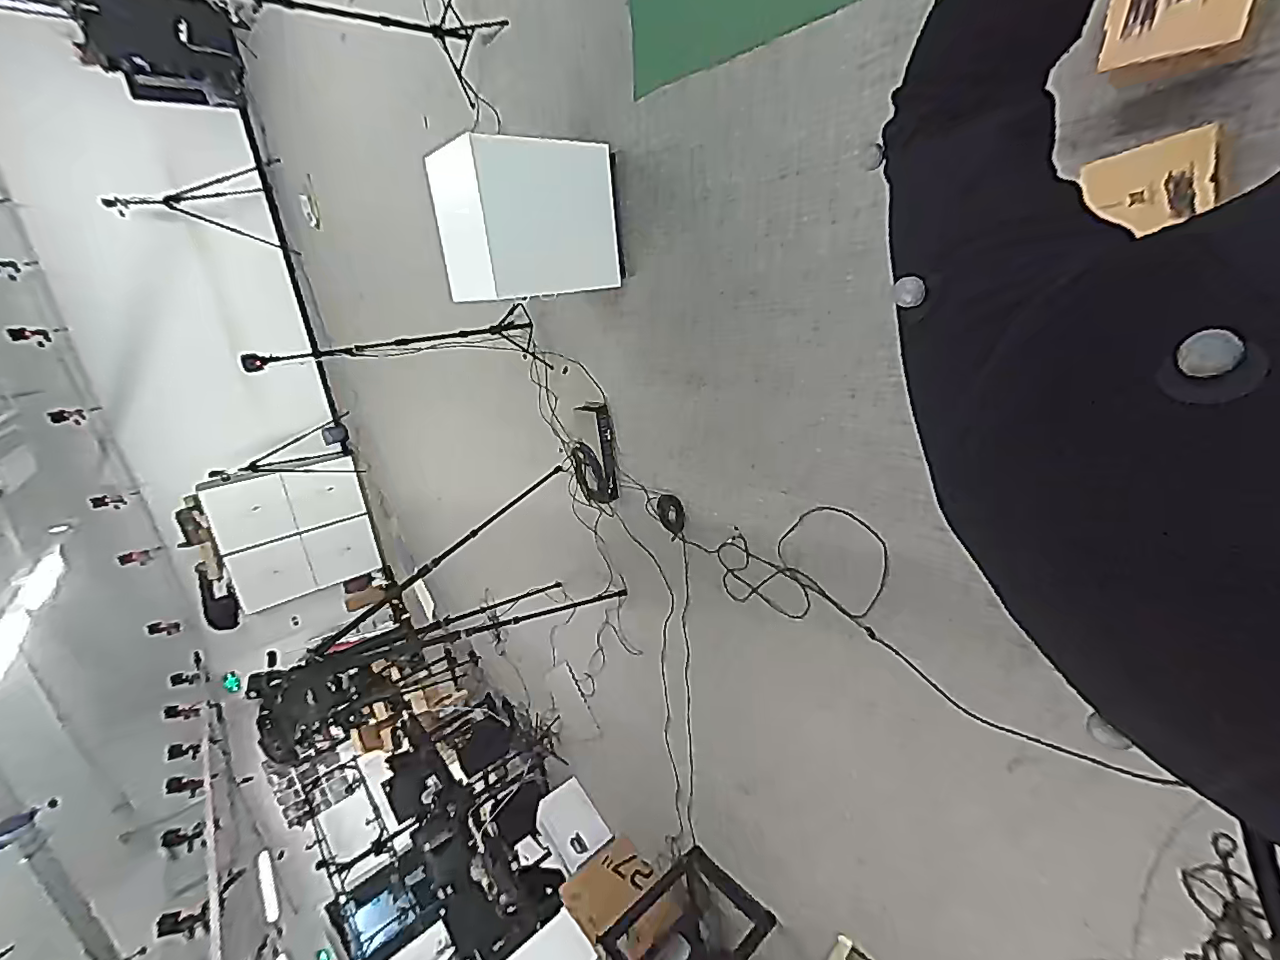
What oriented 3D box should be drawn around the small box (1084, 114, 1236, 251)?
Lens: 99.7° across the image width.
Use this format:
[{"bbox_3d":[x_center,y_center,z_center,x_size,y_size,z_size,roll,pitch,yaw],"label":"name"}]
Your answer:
[{"bbox_3d":[0.927,-0.521,0.965,0.179,0.176,0.168,5,110,53],"label":"small box"}]
